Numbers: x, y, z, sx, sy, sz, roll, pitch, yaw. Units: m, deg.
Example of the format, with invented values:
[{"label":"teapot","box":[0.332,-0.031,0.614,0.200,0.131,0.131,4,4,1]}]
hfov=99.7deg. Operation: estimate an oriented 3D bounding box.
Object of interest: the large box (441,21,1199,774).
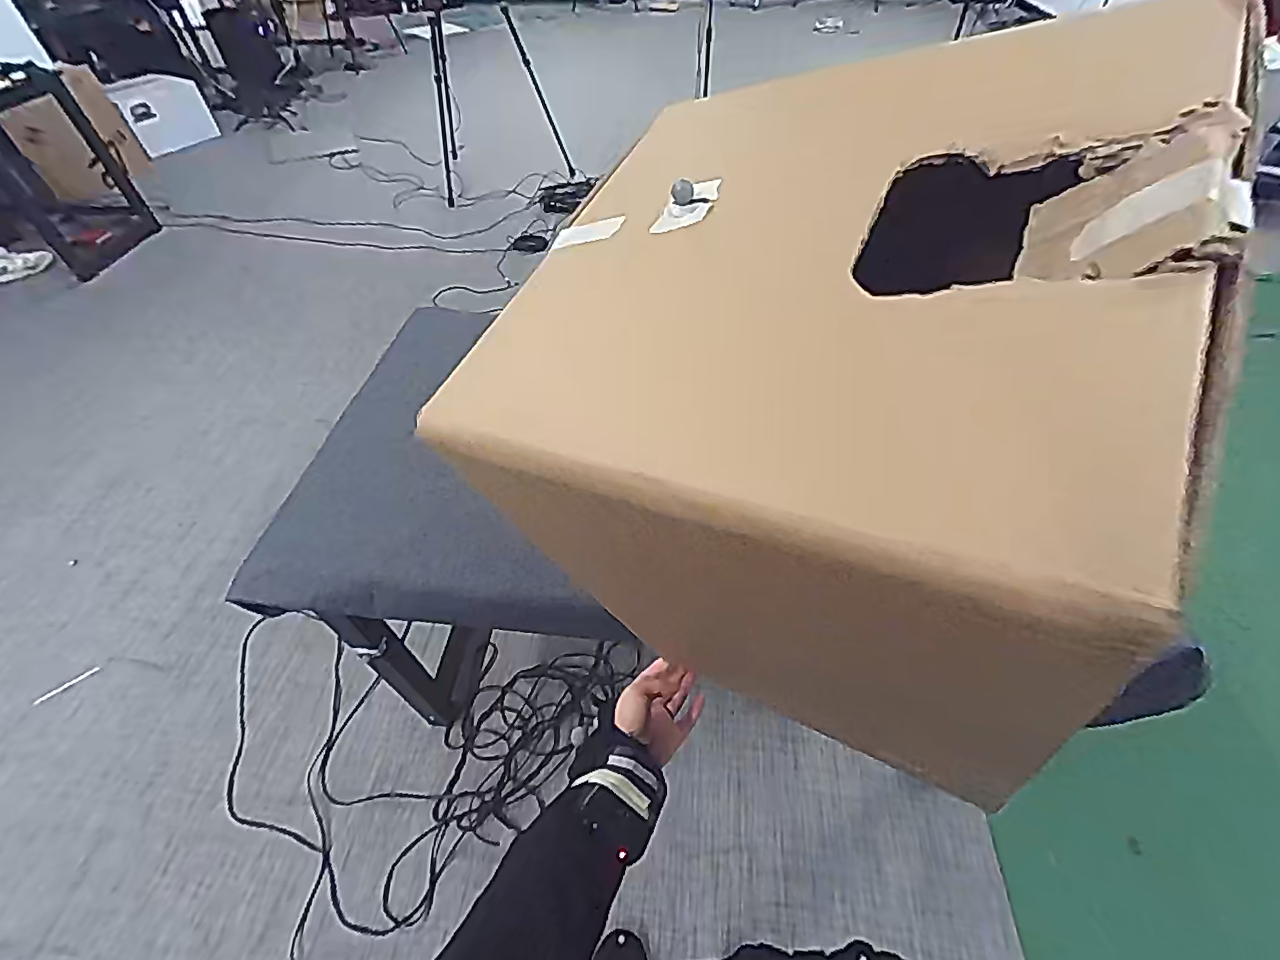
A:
[{"label":"large box","box":[0.141,-0.017,0.424,0.320,0.408,0.320,15,65,33]}]
